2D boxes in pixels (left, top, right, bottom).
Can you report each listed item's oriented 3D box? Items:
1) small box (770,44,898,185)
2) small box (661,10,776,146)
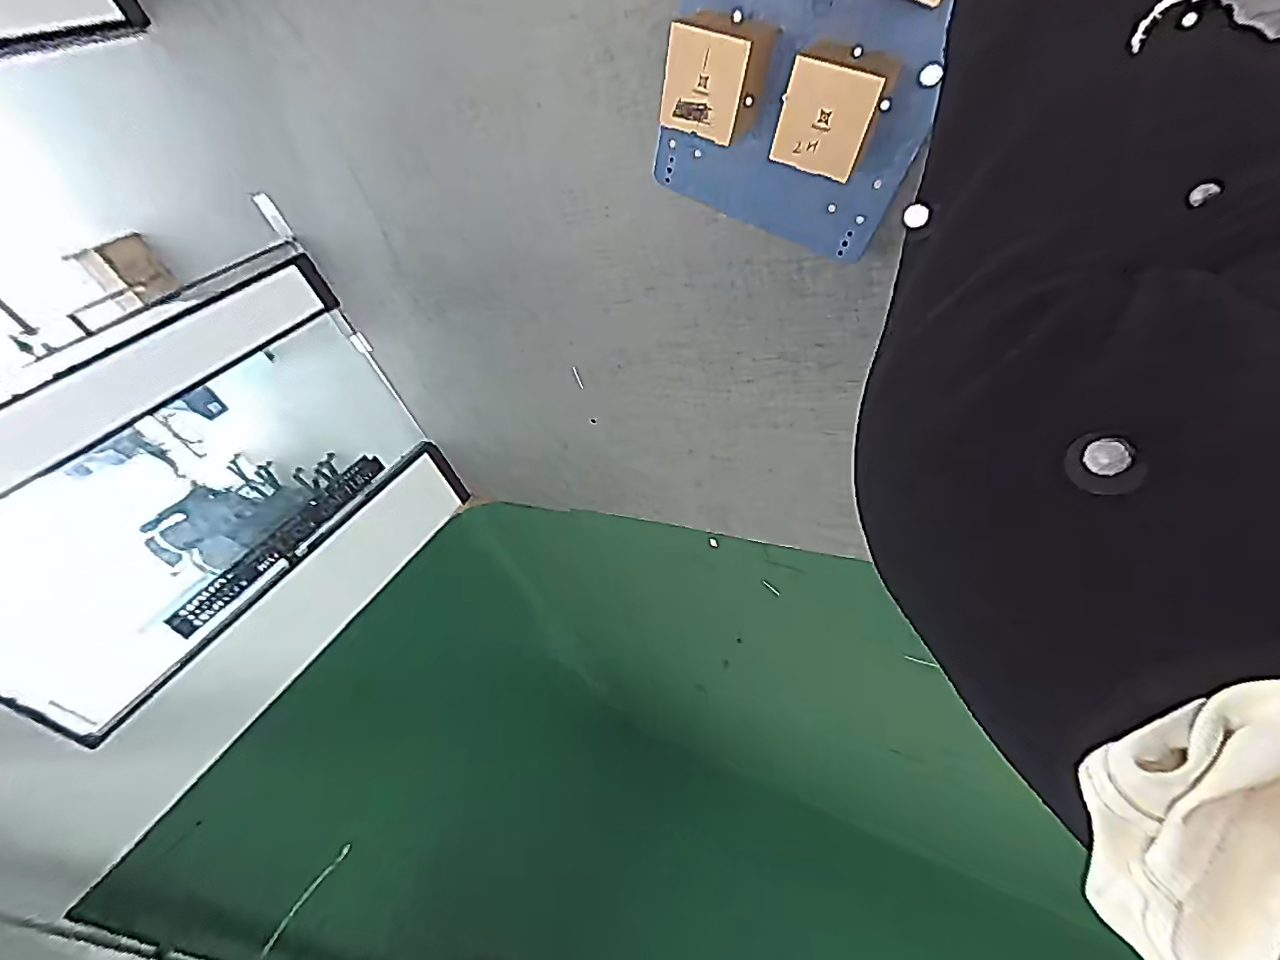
[{"bbox_3d":[0.382,-0.721,1.061,0.168,0.176,0.179,28,143,13],"label":"small box"},{"bbox_3d":[0.162,-0.831,1.116,0.168,0.176,0.179,26,142,12],"label":"small box"}]
